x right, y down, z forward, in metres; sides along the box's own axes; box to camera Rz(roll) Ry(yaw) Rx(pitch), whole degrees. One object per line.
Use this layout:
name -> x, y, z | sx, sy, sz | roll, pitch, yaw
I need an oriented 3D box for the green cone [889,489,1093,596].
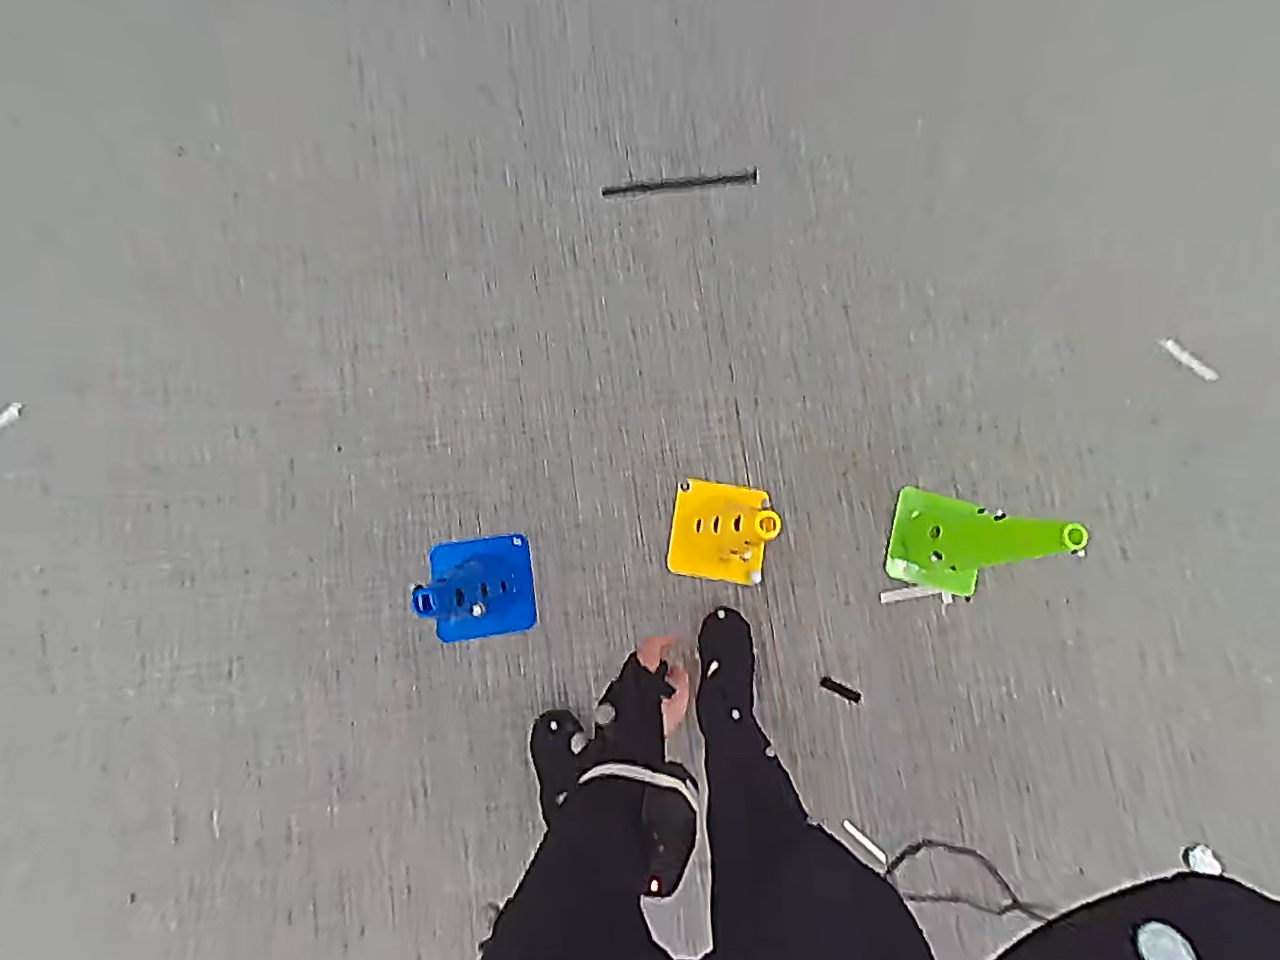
green cone -> 0.653, 0.113, 0.992 | 0.200, 0.368, 0.202 | 14, 82, -1
